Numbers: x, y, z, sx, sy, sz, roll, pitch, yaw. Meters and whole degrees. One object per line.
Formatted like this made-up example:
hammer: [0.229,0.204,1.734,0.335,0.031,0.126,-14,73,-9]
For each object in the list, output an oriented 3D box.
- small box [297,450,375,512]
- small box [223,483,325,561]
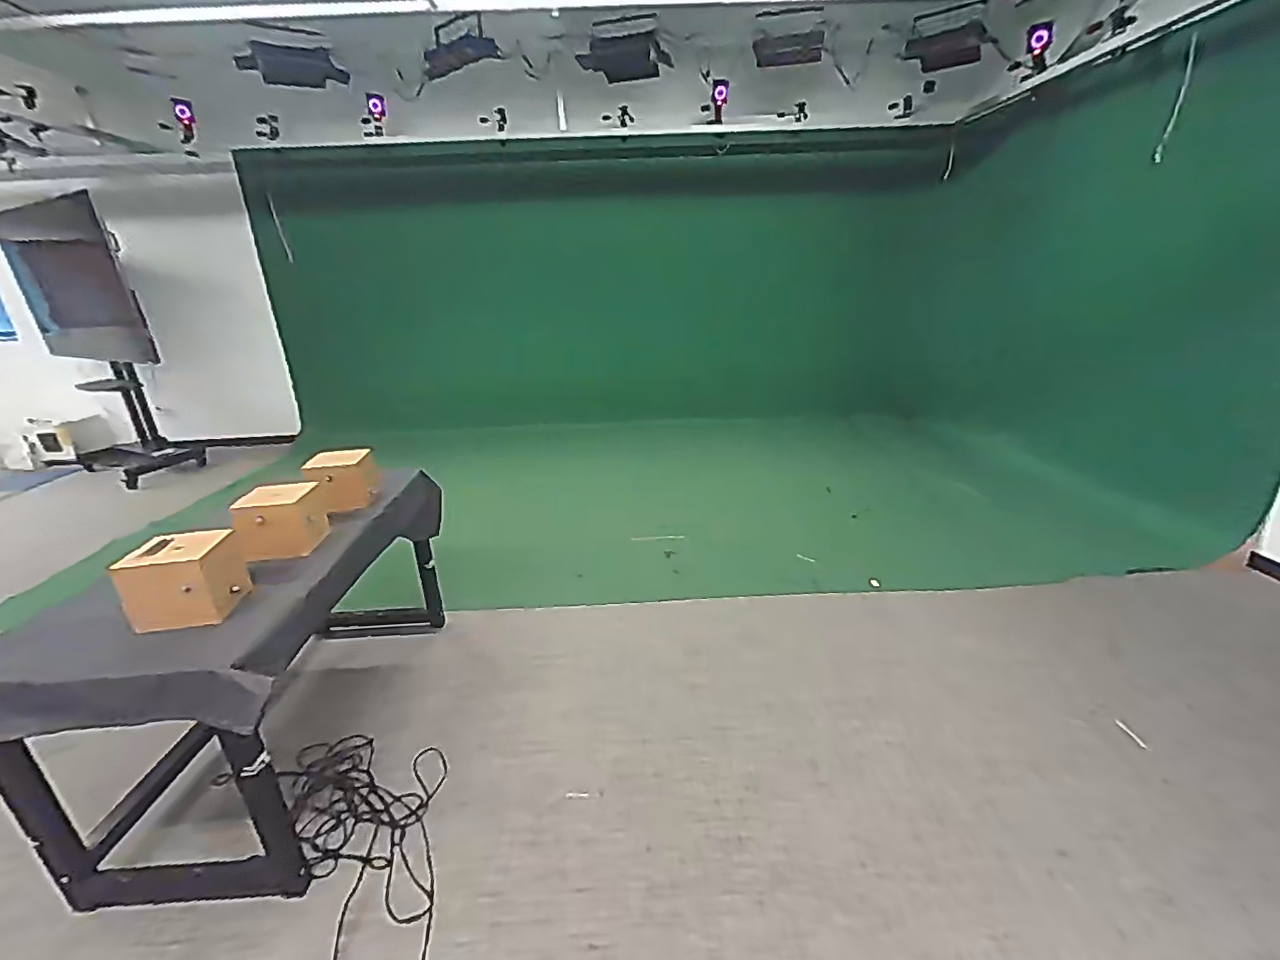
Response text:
small box: [-1.043,0.005,1.870,0.179,0.176,0.168,-5,22,-8]
small box: [-1.046,0.120,1.565,0.179,0.176,0.168,-5,21,-6]
